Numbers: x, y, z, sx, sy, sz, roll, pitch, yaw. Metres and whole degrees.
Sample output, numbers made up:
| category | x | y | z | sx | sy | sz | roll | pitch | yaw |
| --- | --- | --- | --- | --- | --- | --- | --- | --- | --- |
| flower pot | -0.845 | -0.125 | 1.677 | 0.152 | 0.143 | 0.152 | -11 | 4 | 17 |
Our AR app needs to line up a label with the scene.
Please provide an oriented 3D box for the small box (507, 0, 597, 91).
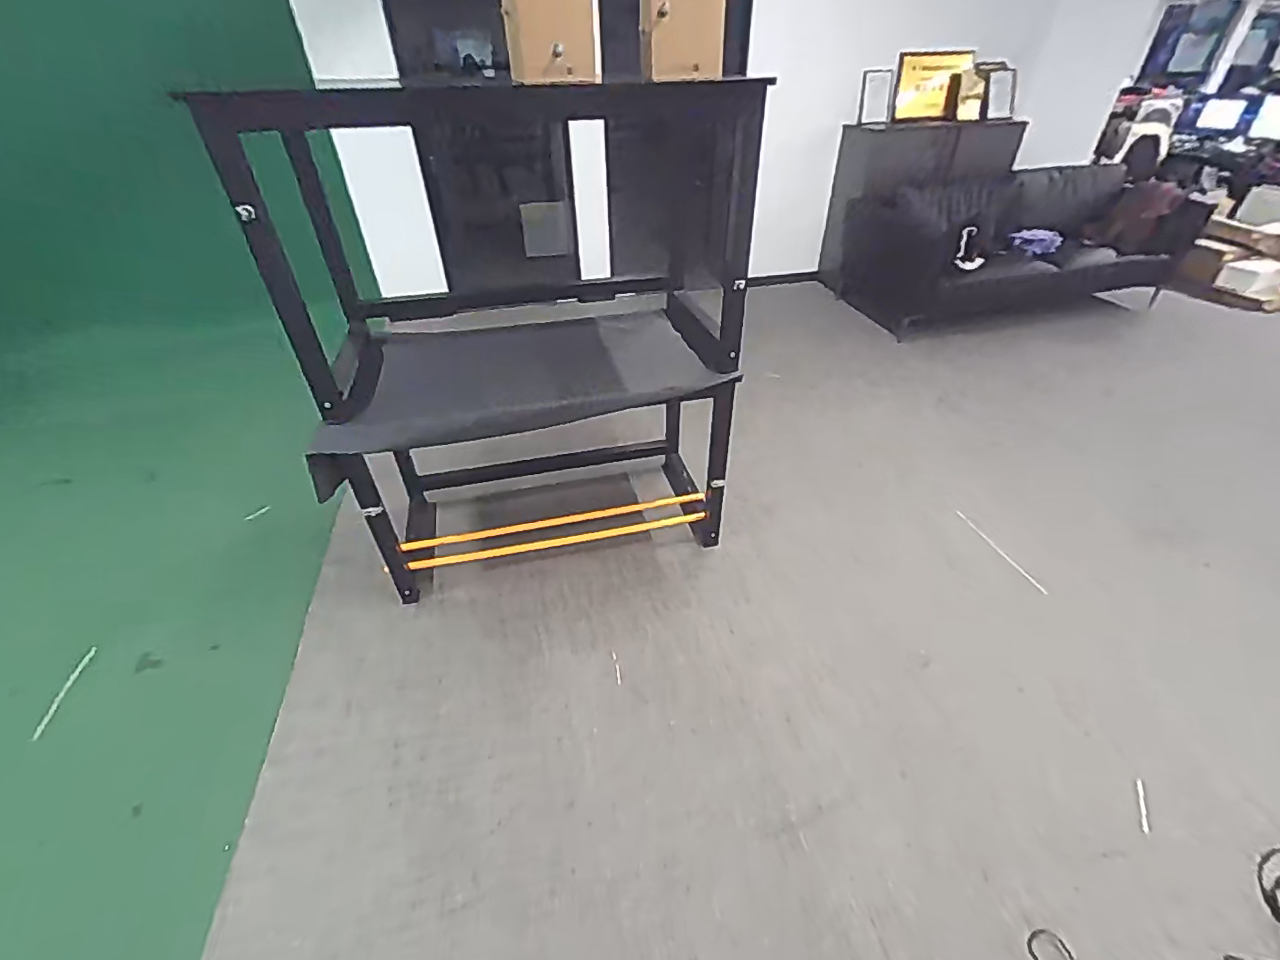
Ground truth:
| category | x | y | z | sx | sy | sz | roll | pitch | yaw |
| --- | --- | --- | --- | --- | --- | --- | --- | --- | --- |
| small box | -0.199 | -0.986 | 1.220 | 0.168 | 0.176 | 0.179 | -12 | 39 | -14 |
